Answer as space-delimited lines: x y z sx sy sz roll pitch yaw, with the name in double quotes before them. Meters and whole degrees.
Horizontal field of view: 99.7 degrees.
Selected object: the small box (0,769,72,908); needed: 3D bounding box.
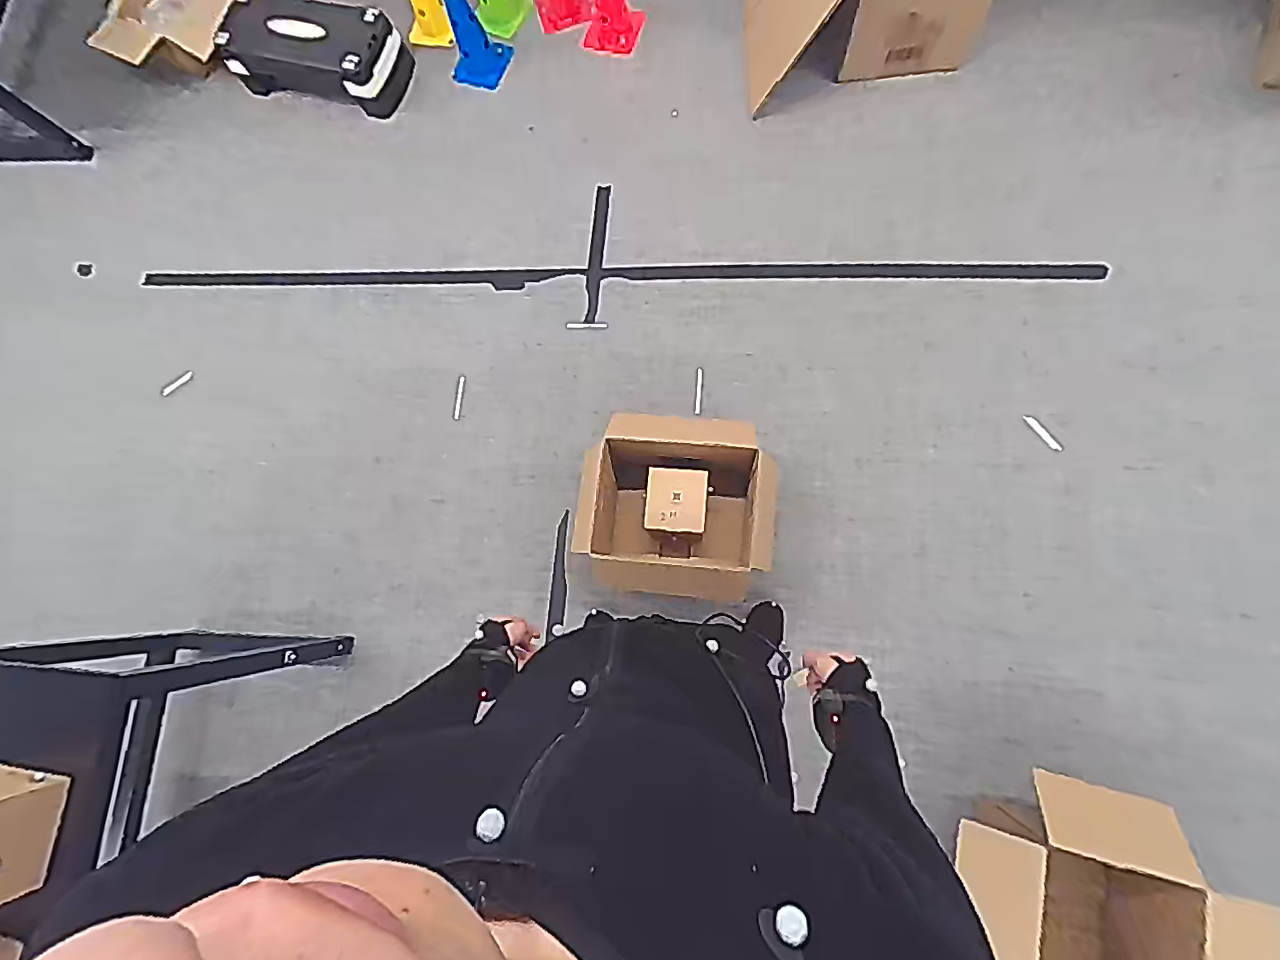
"small box" -1.101 0.598 0.883 0.168 0.176 0.179 4 81 9
